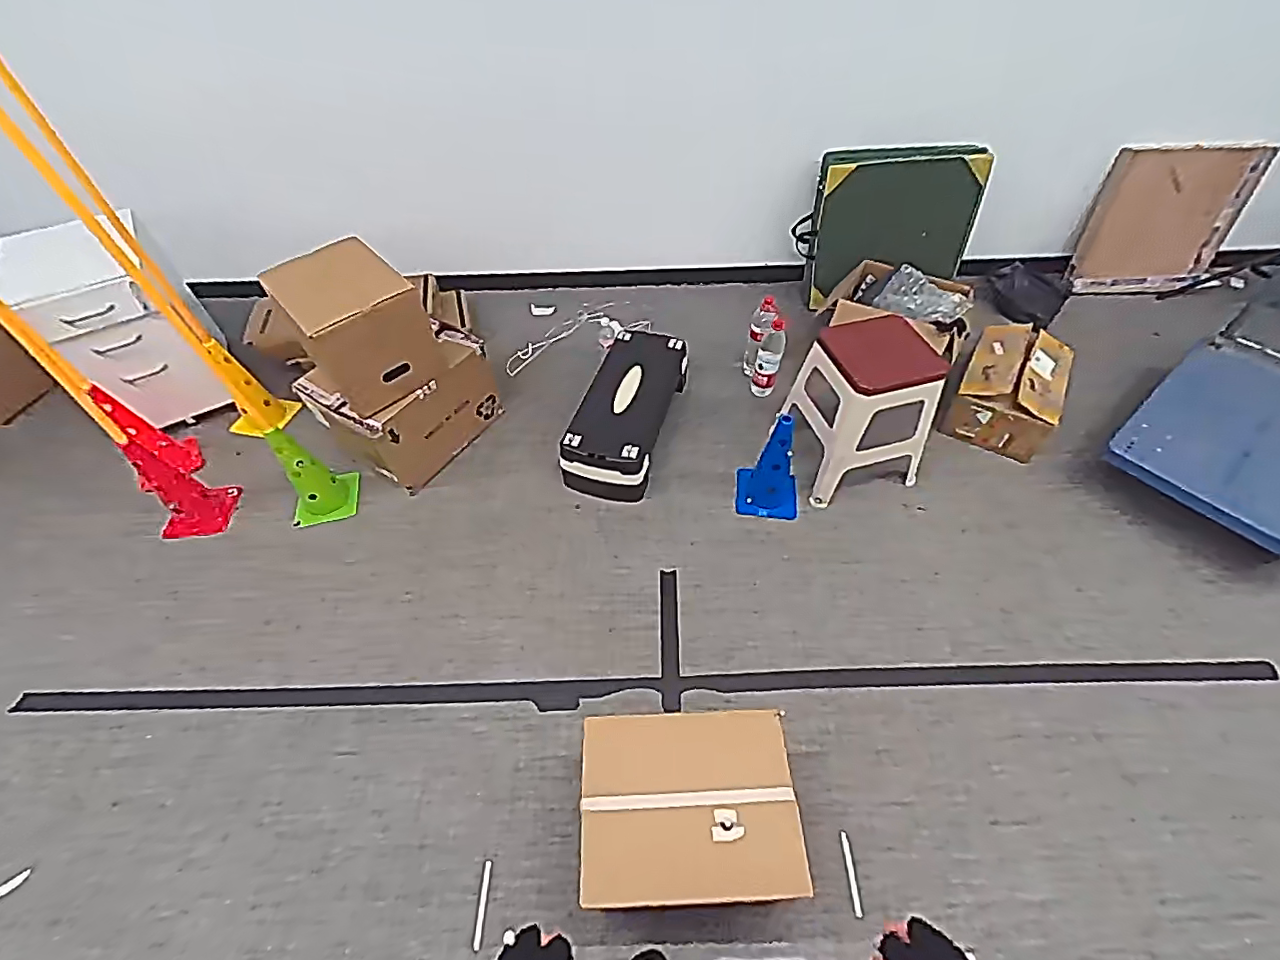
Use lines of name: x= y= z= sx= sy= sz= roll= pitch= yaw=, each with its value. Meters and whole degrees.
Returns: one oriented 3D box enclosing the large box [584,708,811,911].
large box: x=0.093 y=0.696 z=1.138 sx=0.408 sy=0.320 sz=0.320 roll=-2 pitch=52 yaw=-2
